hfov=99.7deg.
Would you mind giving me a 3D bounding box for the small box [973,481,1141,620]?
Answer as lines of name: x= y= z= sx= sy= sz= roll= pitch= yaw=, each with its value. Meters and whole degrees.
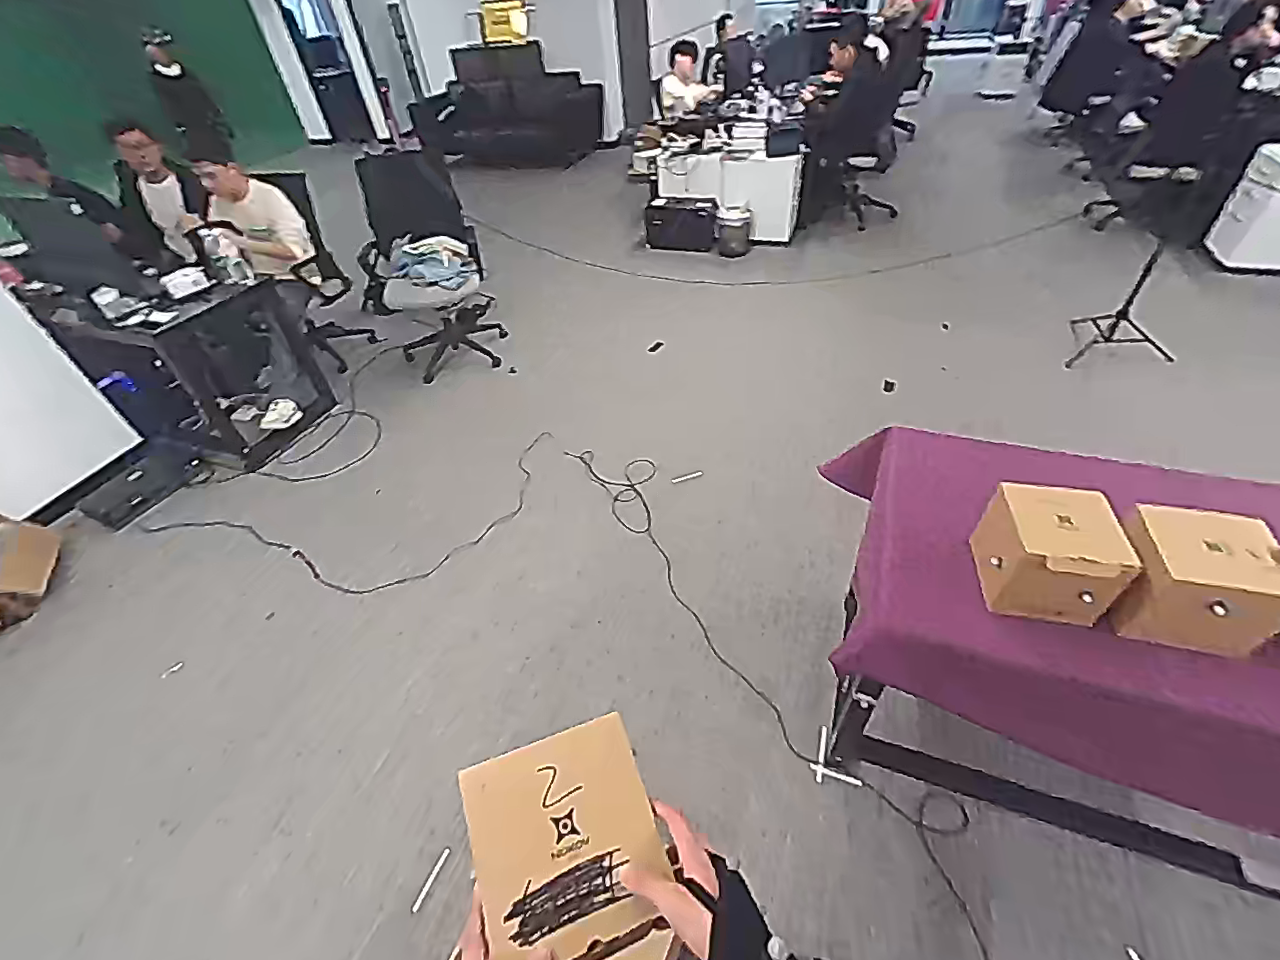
small box: x=0.726 y=0.127 z=0.967 sx=0.168 sy=0.176 sz=0.179 roll=7 pitch=45 yaw=13
